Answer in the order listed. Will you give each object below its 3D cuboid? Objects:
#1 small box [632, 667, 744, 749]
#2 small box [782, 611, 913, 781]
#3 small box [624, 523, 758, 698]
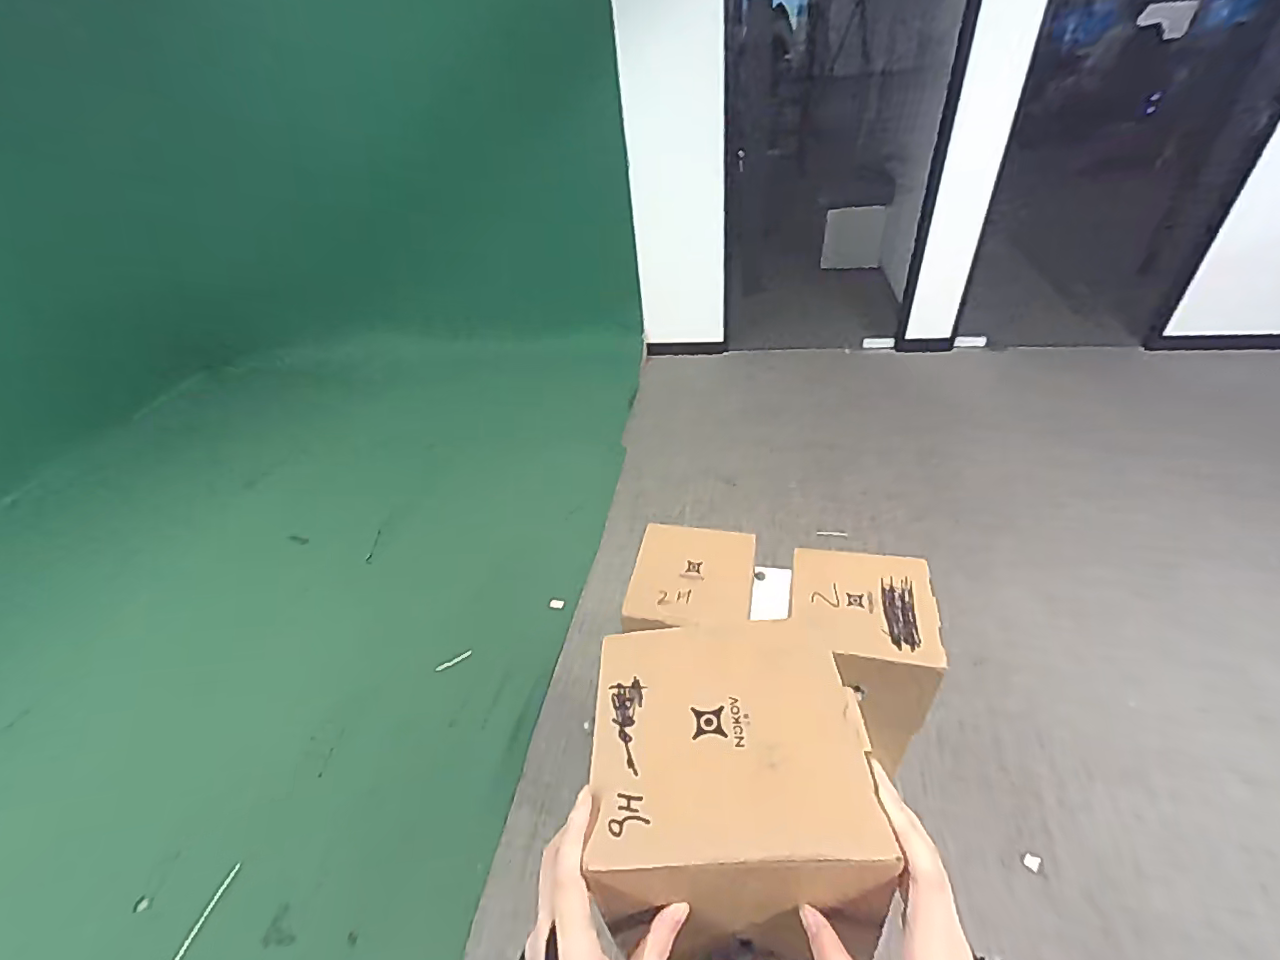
[{"bbox_3d":[0.090,0.317,0.906,0.168,0.176,0.179,4,42,12],"label":"small box"},{"bbox_3d":[0.314,0.337,0.850,0.168,0.176,0.179,4,42,15],"label":"small box"},{"bbox_3d":[0.081,0.190,0.803,0.168,0.176,0.179,5,42,13],"label":"small box"}]
